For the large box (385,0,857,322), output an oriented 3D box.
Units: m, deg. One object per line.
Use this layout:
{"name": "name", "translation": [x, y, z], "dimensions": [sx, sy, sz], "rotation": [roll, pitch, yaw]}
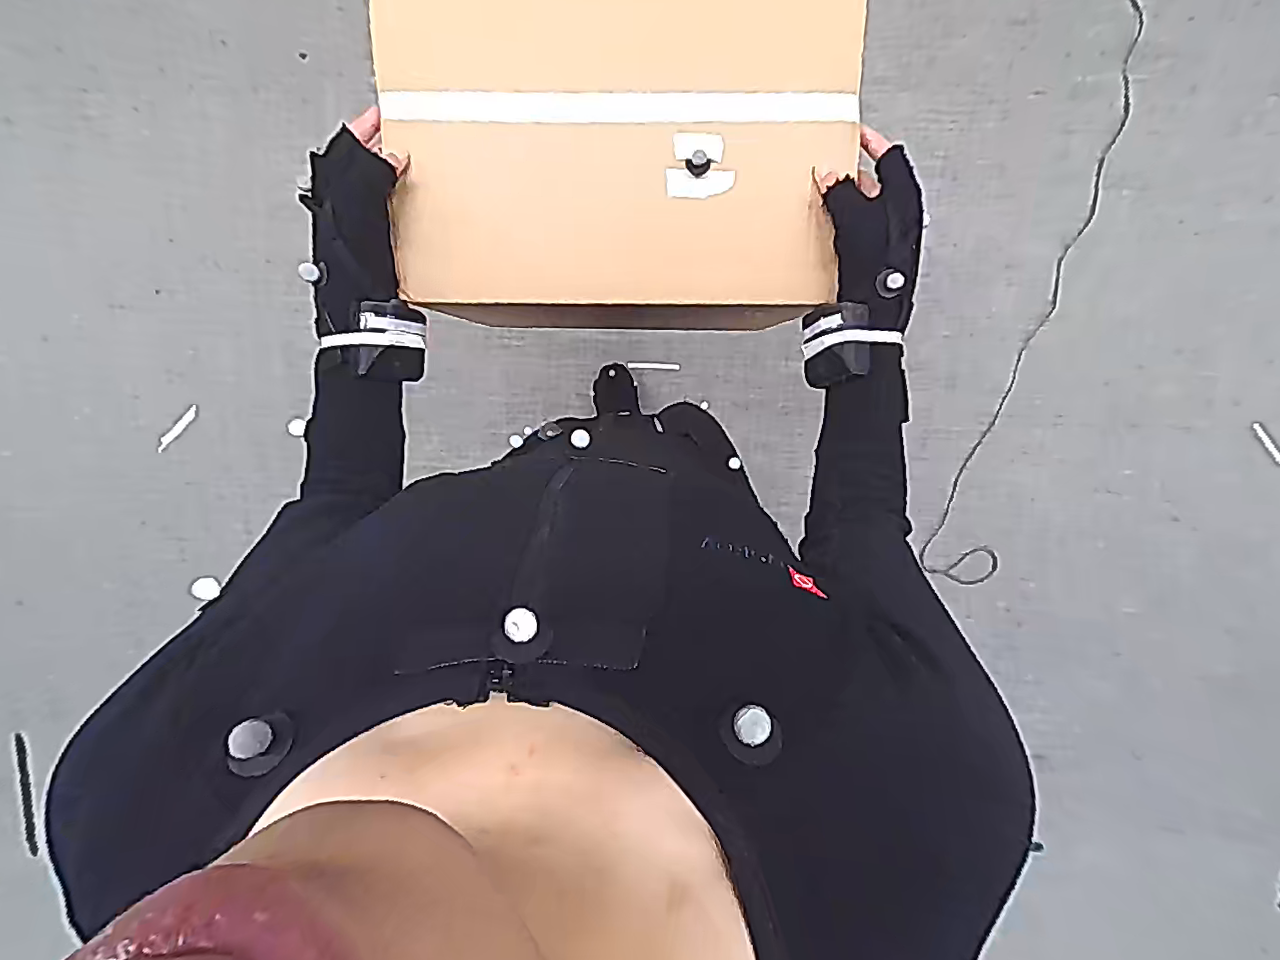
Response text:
{"name": "large box", "translation": [-0.018, -0.356, 0.614], "dimensions": [0.408, 0.320, 0.320], "rotation": [0, 102, -1]}
